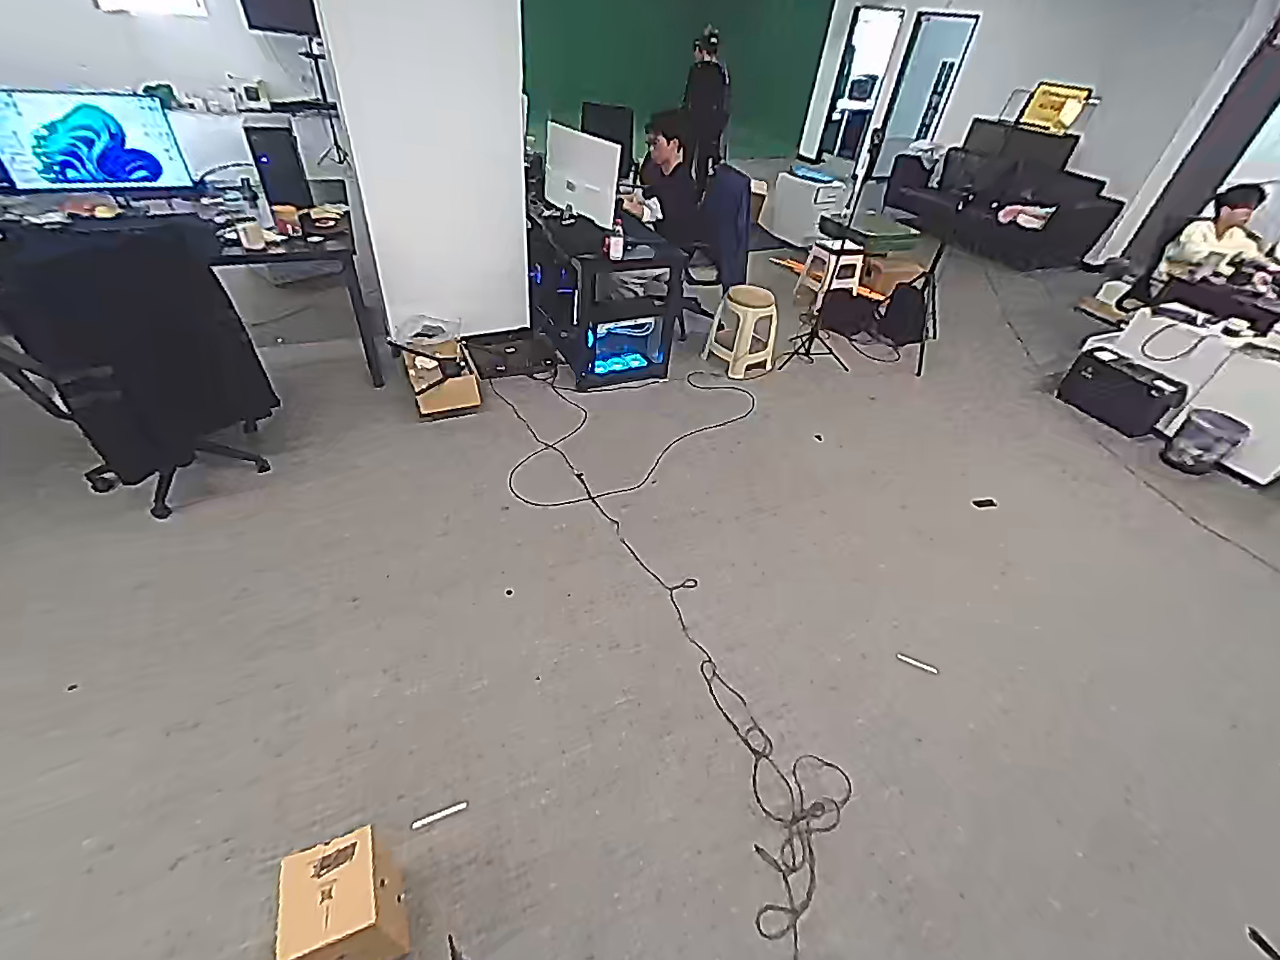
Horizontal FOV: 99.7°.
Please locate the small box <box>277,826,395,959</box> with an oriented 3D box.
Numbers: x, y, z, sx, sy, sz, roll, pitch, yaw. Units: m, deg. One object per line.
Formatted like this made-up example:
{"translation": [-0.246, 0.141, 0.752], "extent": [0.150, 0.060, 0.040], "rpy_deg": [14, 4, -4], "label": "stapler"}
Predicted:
{"translation": [-0.603, 0.846, 1.089], "extent": [0.168, 0.176, 0.179], "rpy_deg": [-12, 44, -20], "label": "small box"}
